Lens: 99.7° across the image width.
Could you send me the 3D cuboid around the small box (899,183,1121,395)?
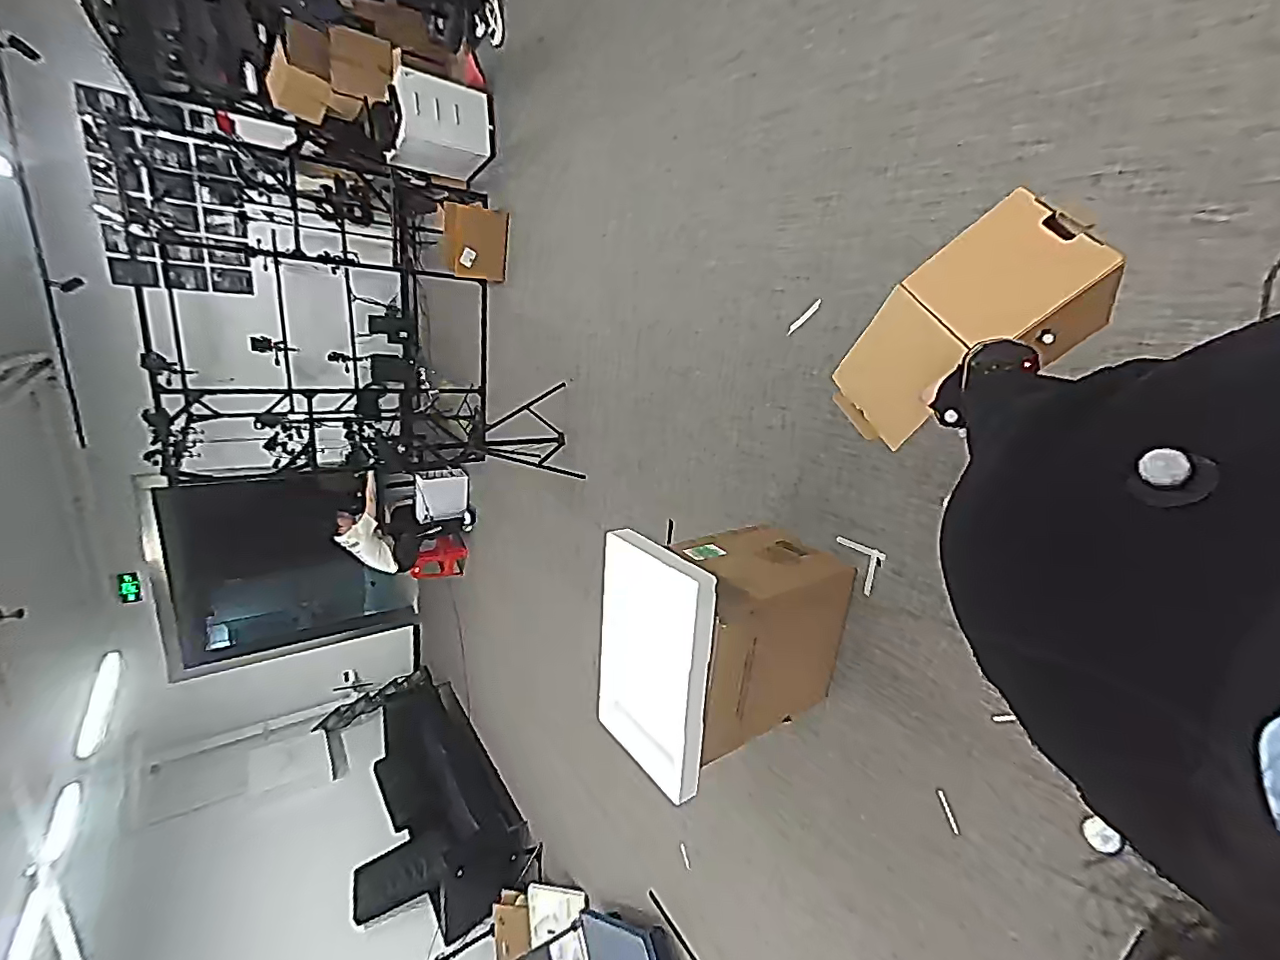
[{"bbox_3d":[0.492,-0.244,0.734,0.179,0.176,0.168,-39,59,21],"label":"small box"}]
